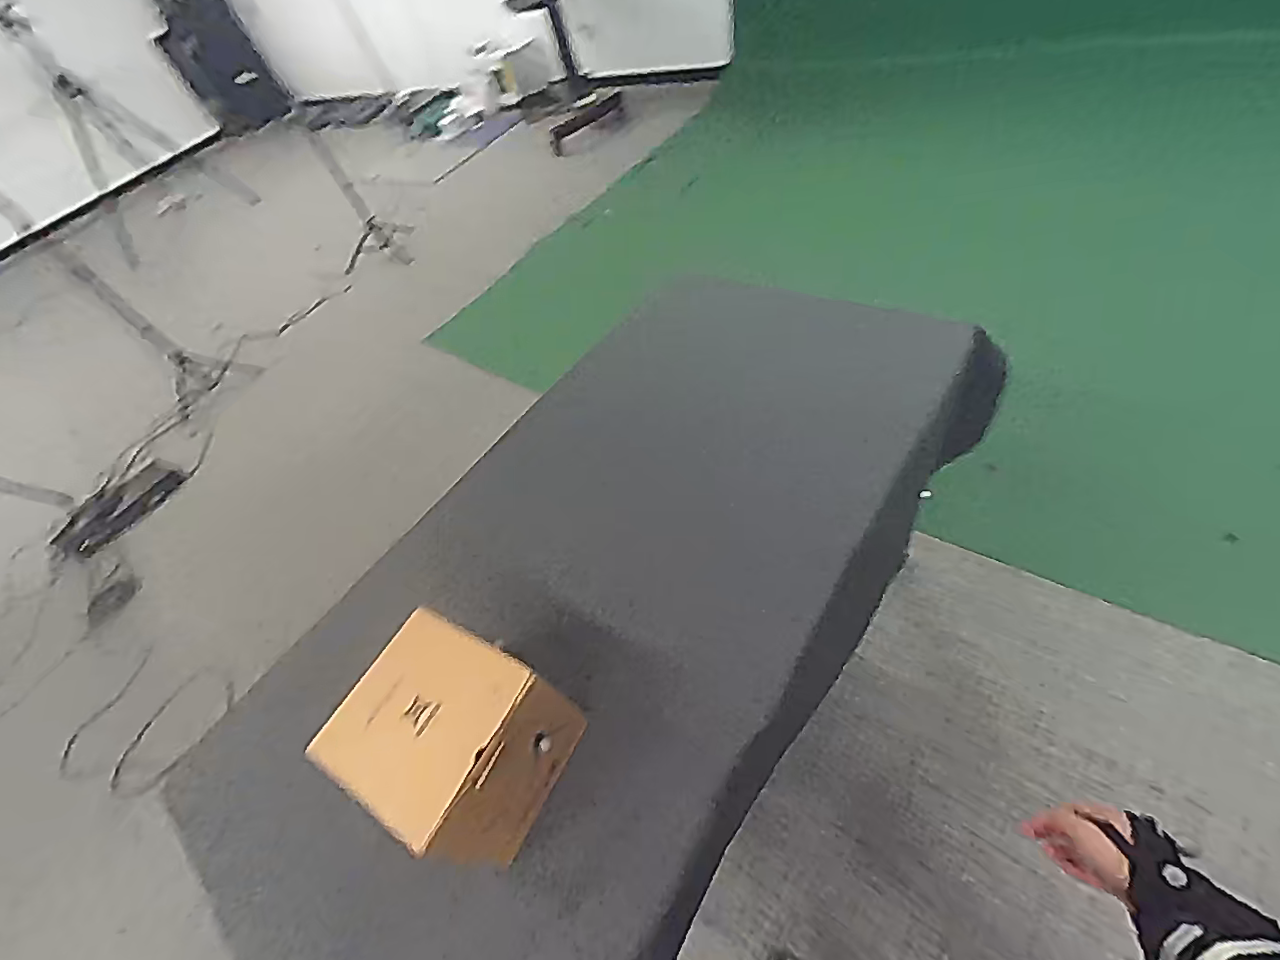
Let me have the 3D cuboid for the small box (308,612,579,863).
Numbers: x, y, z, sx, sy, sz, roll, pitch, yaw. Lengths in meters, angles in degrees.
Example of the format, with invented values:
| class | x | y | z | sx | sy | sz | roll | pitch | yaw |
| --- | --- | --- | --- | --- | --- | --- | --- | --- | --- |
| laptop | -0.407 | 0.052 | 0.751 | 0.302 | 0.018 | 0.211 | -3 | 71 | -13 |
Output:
| class | x | y | z | sx | sy | sz | roll | pitch | yaw |
| --- | --- | --- | --- | --- | --- | --- | --- | --- | --- |
| small box | -0.192 | 0.275 | 0.576 | 0.179 | 0.176 | 0.168 | 16 | 57 | 29 |
